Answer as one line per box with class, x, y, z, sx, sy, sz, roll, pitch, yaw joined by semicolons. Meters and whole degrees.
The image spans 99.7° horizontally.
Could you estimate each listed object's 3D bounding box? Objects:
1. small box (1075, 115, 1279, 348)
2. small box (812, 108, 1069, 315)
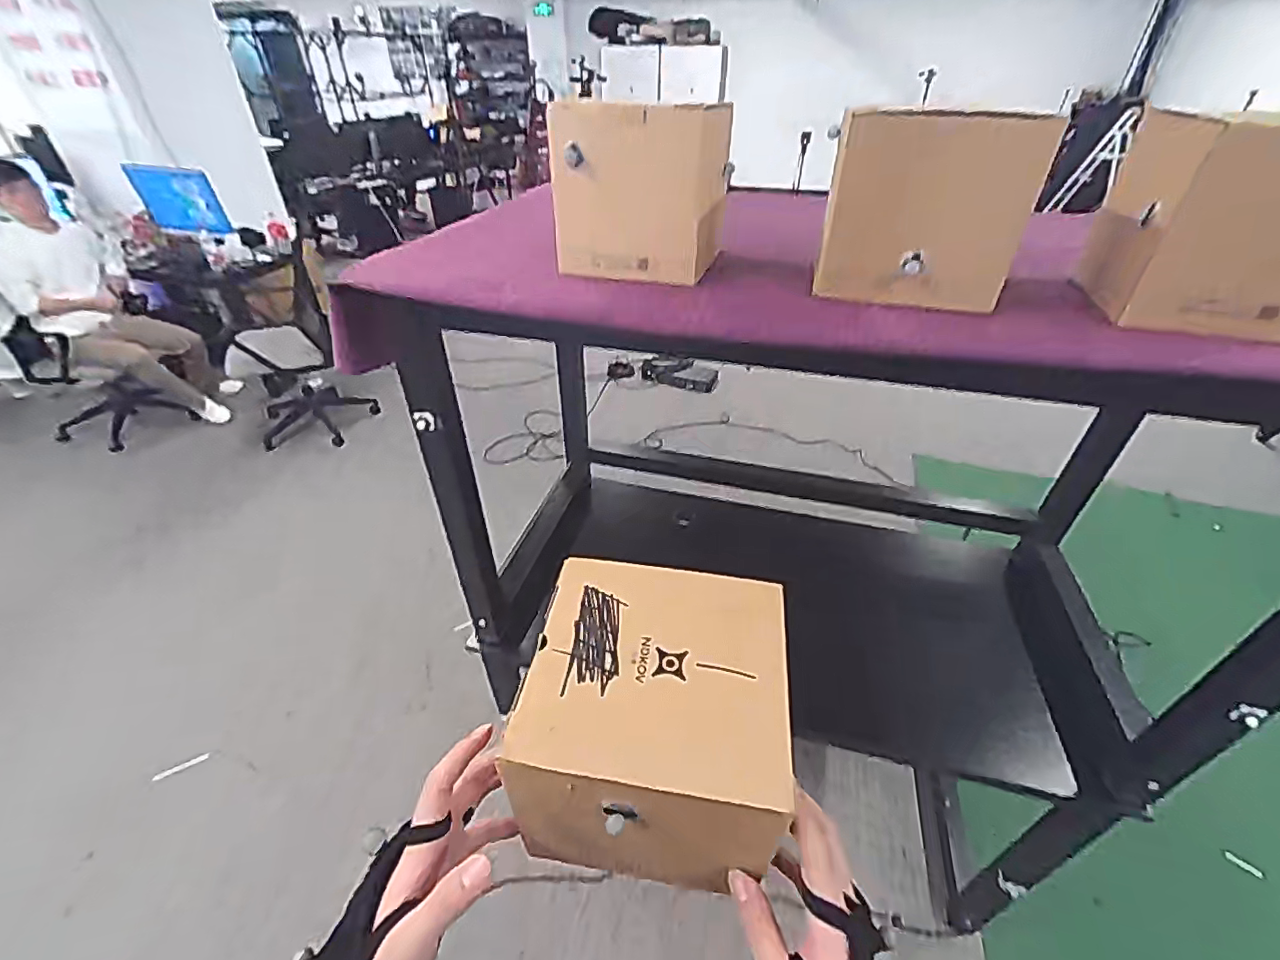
small box;0.559;-0.237;0.509;0.168;0.176;0.179;13;38;16
small box;0.291;-0.284;0.570;0.179;0.176;0.168;10;37;12
